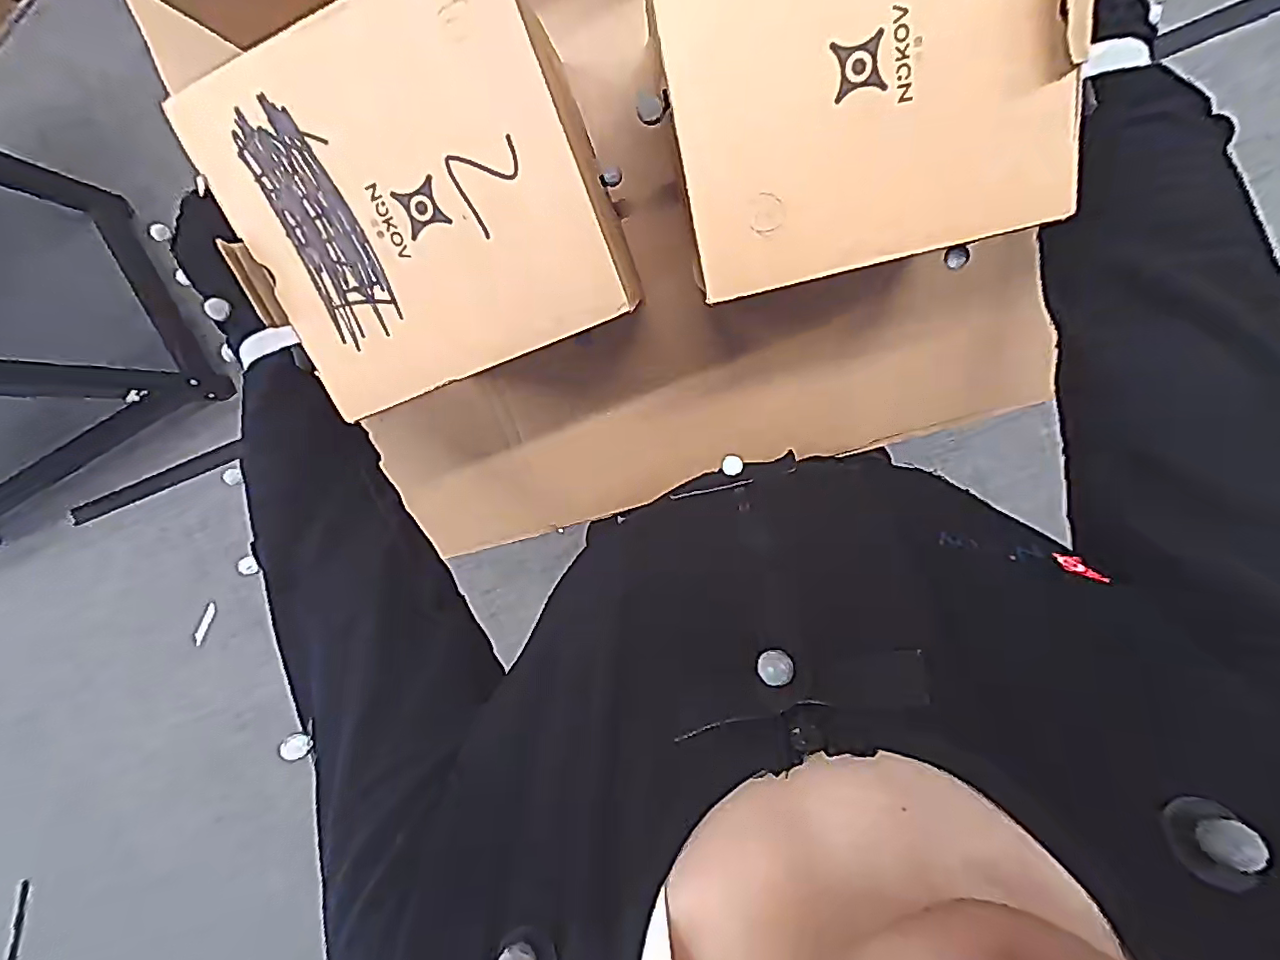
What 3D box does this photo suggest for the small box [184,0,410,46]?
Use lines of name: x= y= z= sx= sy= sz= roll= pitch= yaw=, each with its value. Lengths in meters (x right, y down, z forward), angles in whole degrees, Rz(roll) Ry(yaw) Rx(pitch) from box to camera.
small box: x=-0.211 y=-0.371 z=0.277 sx=0.168 sy=0.176 sz=0.179 roll=-16 pitch=104 yaw=9
